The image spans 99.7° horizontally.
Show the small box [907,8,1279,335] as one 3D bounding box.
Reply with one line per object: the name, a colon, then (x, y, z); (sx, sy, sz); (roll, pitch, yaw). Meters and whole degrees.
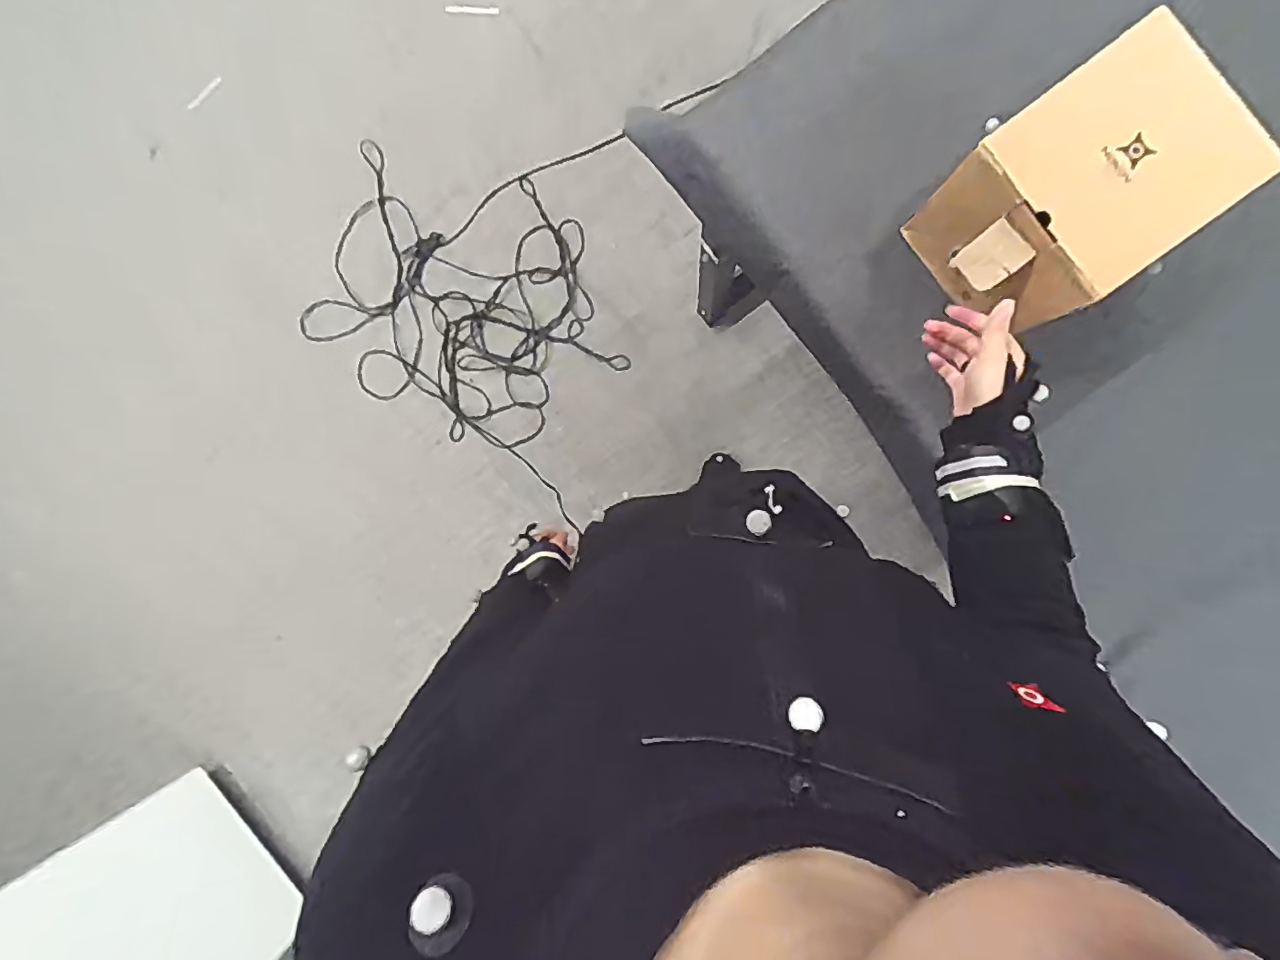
small box: (0.402, -0.268, 0.519); (0.179, 0.176, 0.168); (-38, 89, 5)
